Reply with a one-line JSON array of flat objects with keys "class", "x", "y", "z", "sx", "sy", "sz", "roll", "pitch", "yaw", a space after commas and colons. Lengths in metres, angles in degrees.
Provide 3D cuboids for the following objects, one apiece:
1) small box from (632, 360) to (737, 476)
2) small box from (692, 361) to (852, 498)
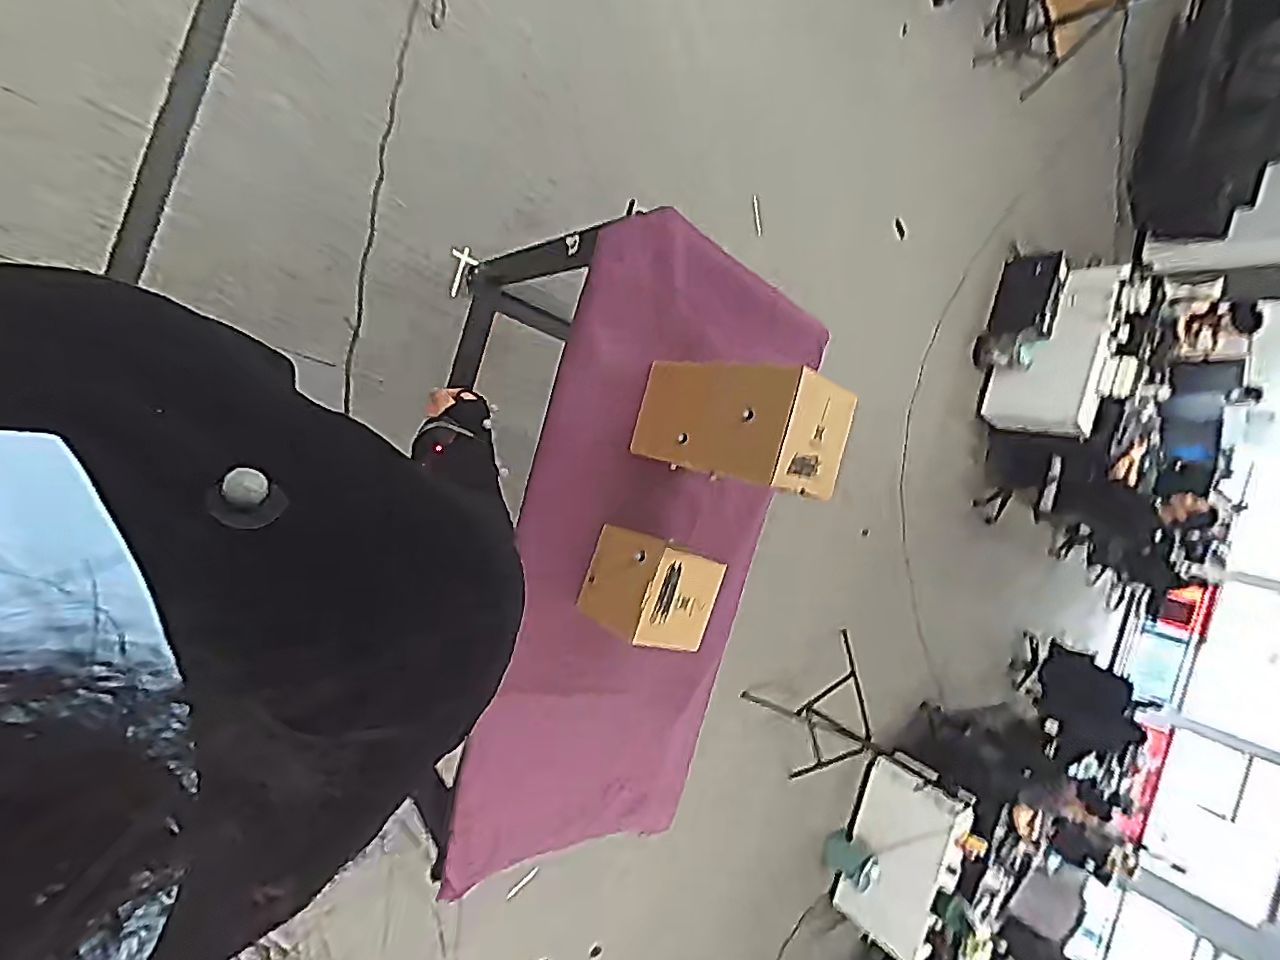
[{"class": "small box", "x": 0.107, "y": -0.116, "z": 1.002, "sx": 0.168, "sy": 0.176, "sz": 0.179, "roll": 13, "pitch": 93, "yaw": -41}, {"class": "small box", "x": 0.208, "y": -0.084, "z": 0.876, "sx": 0.168, "sy": 0.176, "sz": 0.179, "roll": 13, "pitch": 93, "yaw": -42}]
